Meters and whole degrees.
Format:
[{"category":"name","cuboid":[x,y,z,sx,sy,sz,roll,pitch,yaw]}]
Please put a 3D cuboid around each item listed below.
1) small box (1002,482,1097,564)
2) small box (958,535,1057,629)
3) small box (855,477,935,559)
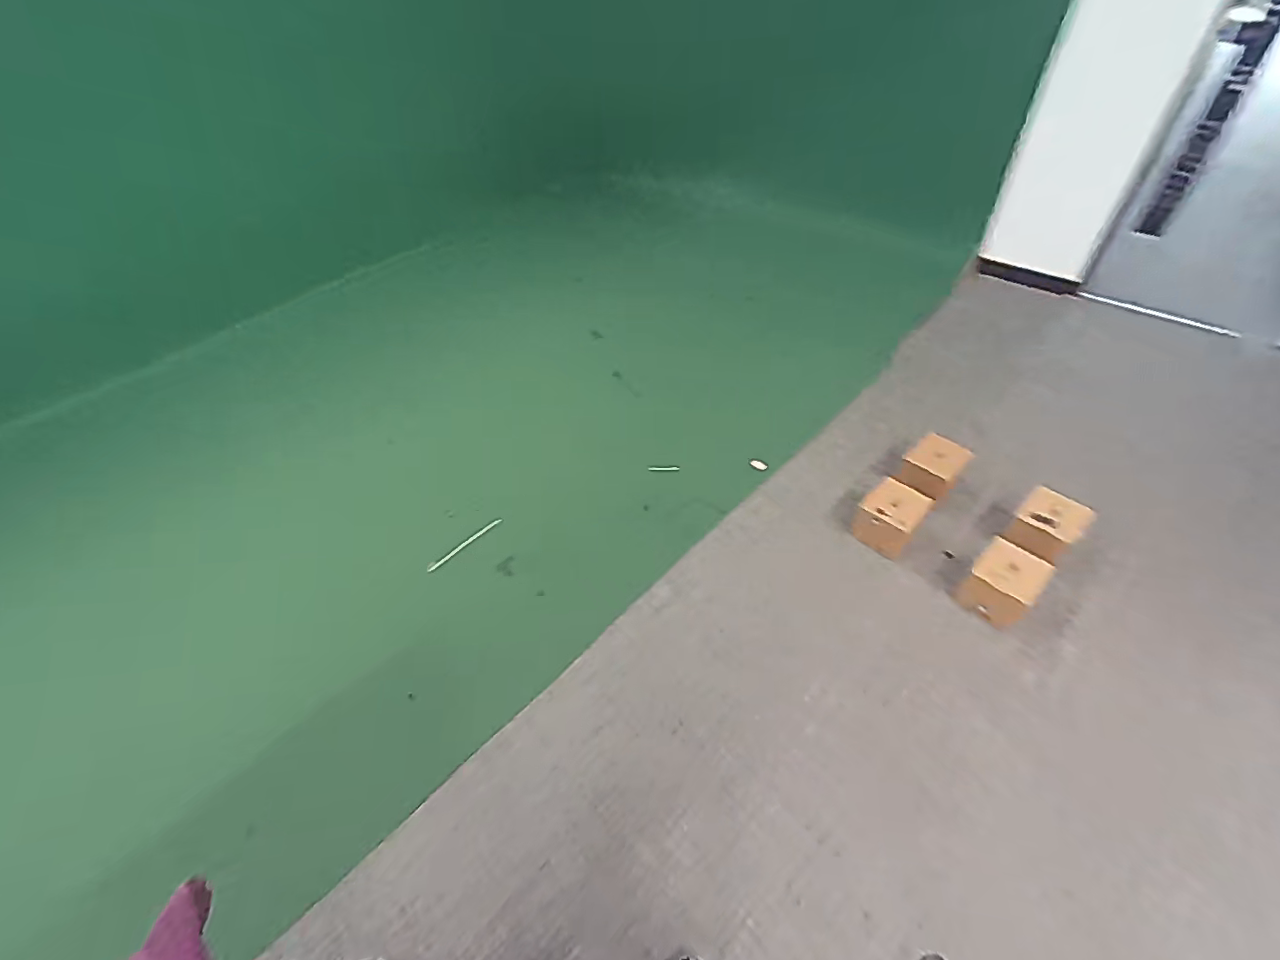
[{"category":"small box","cuboid":[1.288,0.148,1.719,0.179,0.176,0.168,-37,54,-23]},{"category":"small box","cuboid":[1.086,0.305,1.612,0.179,0.176,0.168,-38,54,-23]},{"category":"small box","cuboid":[0.842,0.128,1.806,0.179,0.176,0.168,-38,54,-24]}]
